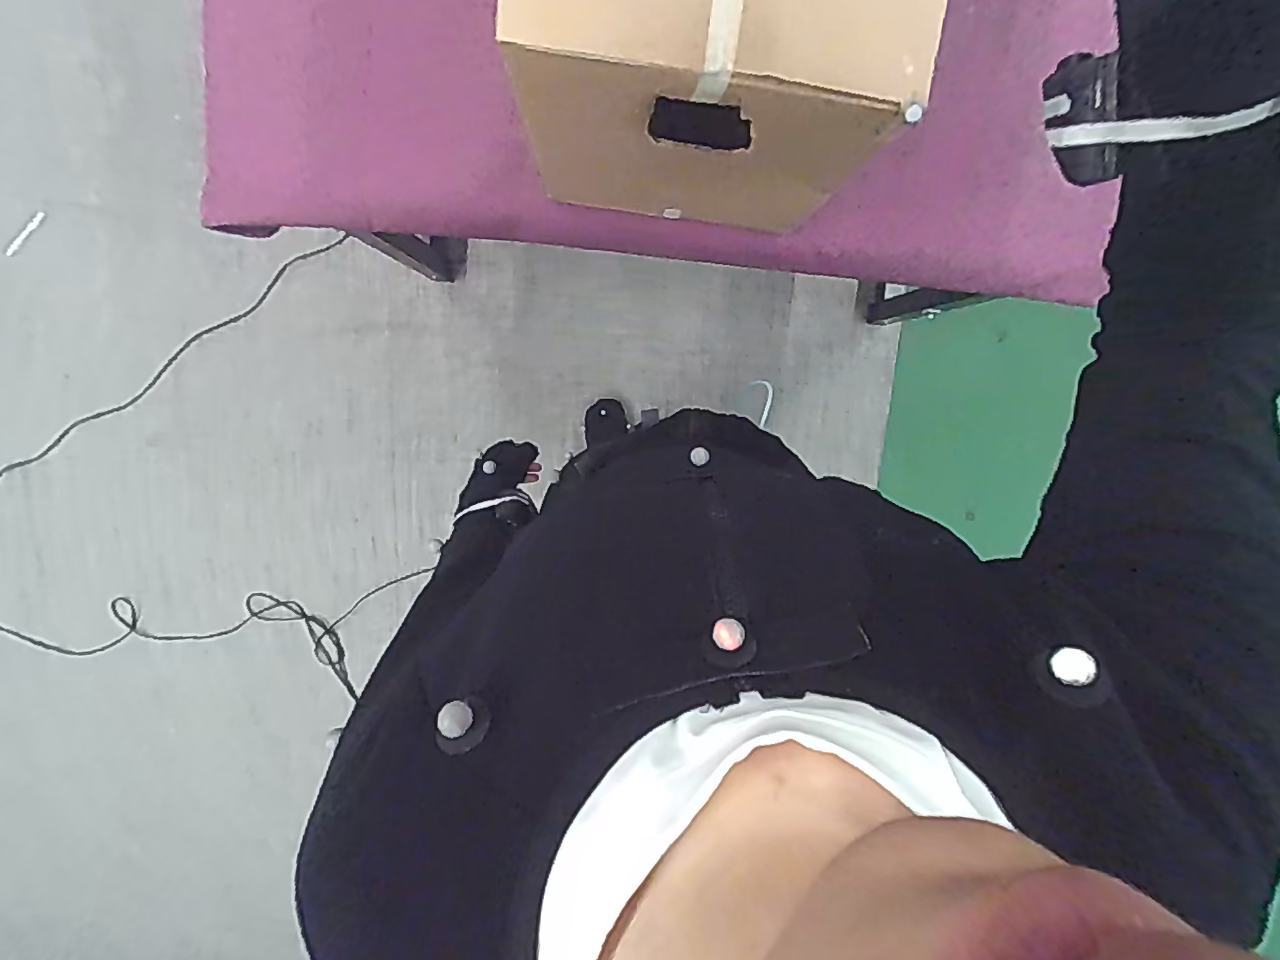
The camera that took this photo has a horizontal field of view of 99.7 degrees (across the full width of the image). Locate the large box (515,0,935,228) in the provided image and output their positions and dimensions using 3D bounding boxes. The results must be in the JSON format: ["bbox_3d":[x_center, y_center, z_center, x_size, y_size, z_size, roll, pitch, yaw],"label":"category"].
[{"bbox_3d":[0.073,-0.513,0.518,0.320,0.320,0.408,7,100,-3],"label":"large box"}]
